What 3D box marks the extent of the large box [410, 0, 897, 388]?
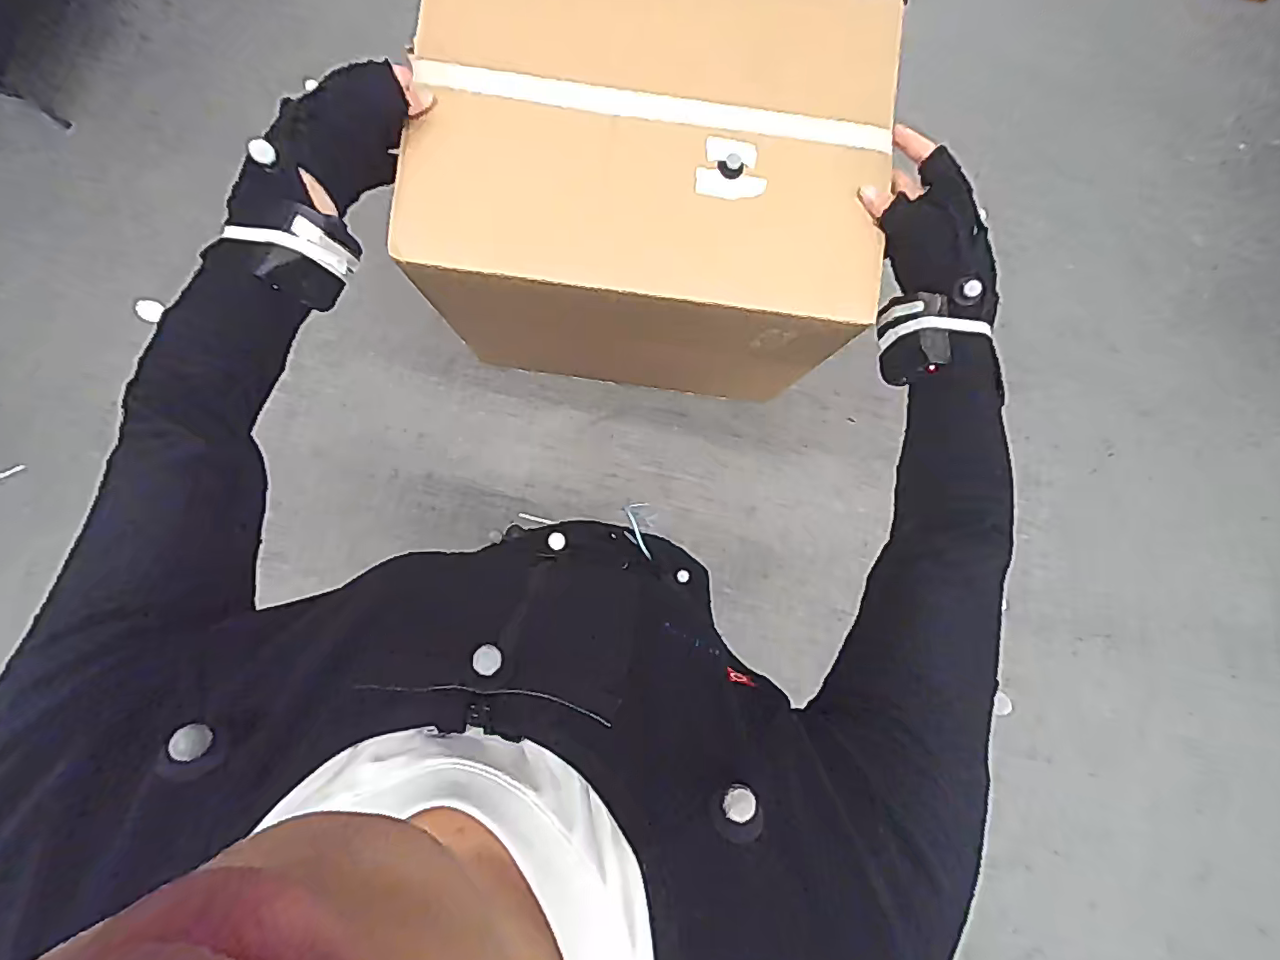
[{"bbox_3d":[0.010,-0.307,0.611,0.408,0.320,0.320,7,87,-3],"label":"large box"}]
